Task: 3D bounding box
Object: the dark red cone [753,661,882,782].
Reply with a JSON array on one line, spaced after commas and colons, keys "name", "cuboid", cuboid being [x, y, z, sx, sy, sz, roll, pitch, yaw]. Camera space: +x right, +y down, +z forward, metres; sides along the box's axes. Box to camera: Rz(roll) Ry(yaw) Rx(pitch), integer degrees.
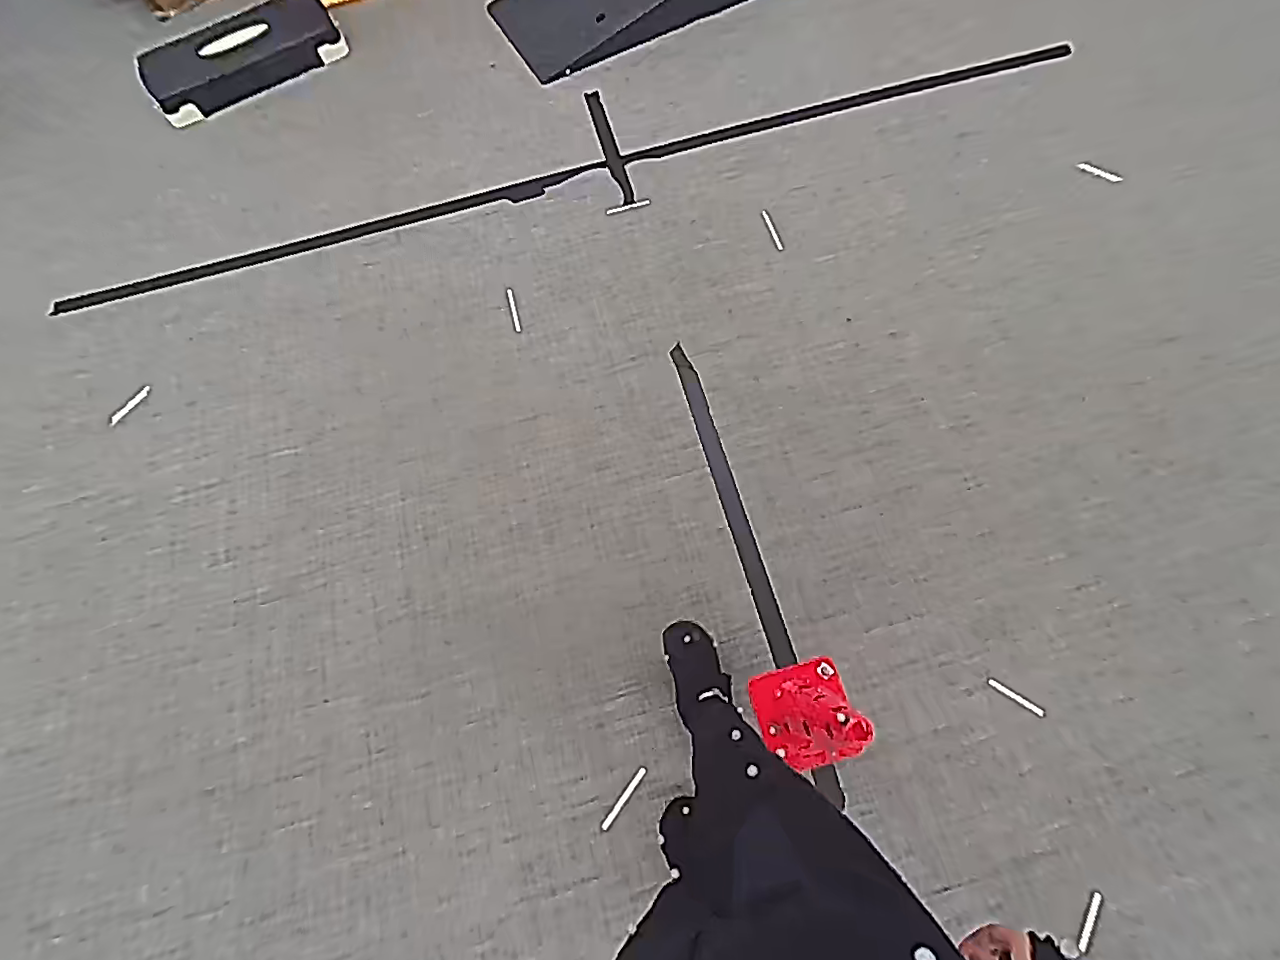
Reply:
[{"name": "dark red cone", "cuboid": [0.343, 0.442, 0.967, 0.201, 0.394, 0.202, -16, 70, -2]}]
